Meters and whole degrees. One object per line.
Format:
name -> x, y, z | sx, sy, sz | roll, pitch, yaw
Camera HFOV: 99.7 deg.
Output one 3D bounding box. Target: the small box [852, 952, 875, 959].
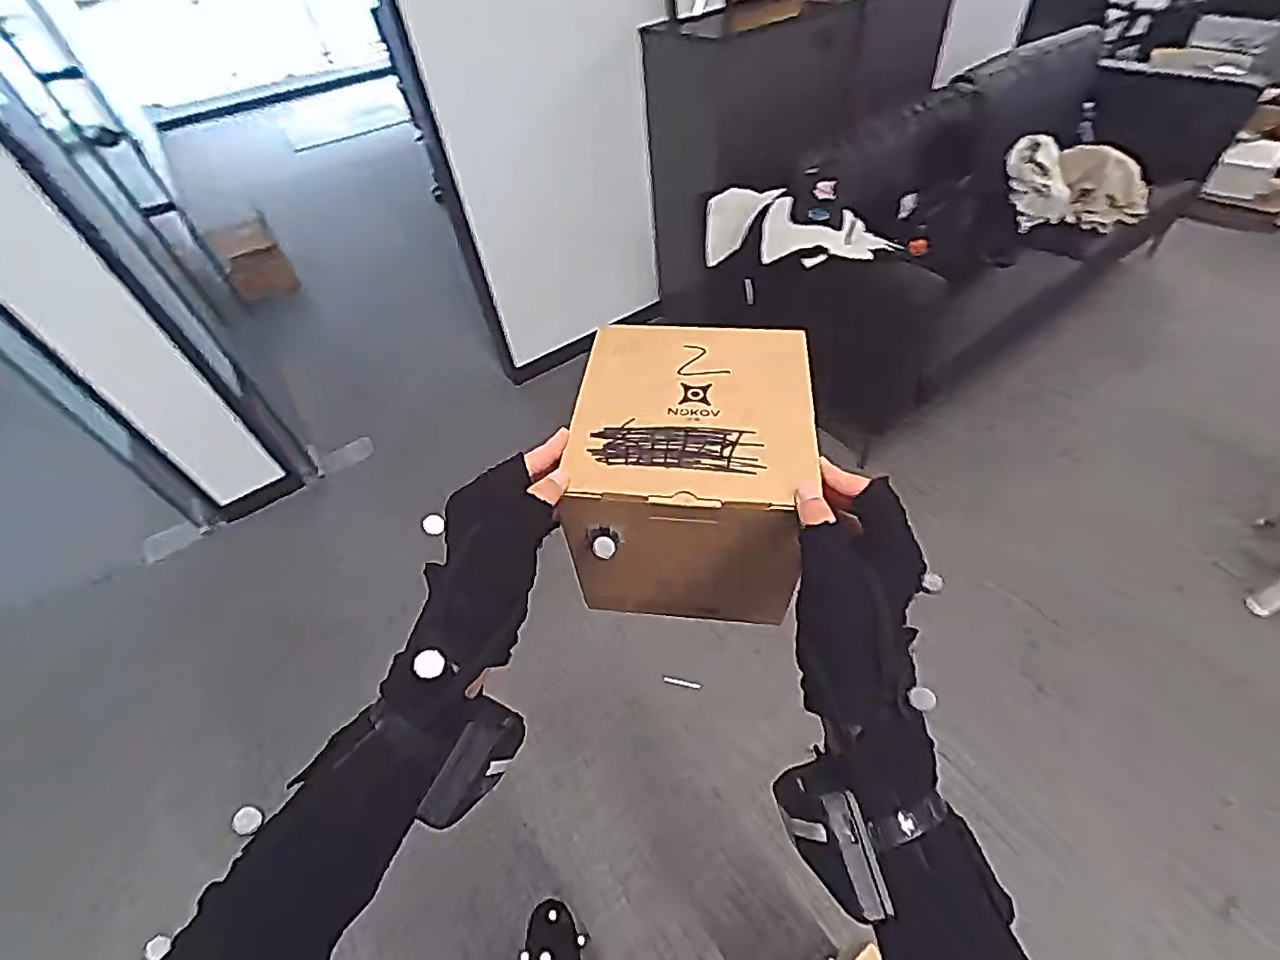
small box -> 0.345, 0.876, 0.823 | 0.168, 0.176, 0.179 | -30, 52, -20
